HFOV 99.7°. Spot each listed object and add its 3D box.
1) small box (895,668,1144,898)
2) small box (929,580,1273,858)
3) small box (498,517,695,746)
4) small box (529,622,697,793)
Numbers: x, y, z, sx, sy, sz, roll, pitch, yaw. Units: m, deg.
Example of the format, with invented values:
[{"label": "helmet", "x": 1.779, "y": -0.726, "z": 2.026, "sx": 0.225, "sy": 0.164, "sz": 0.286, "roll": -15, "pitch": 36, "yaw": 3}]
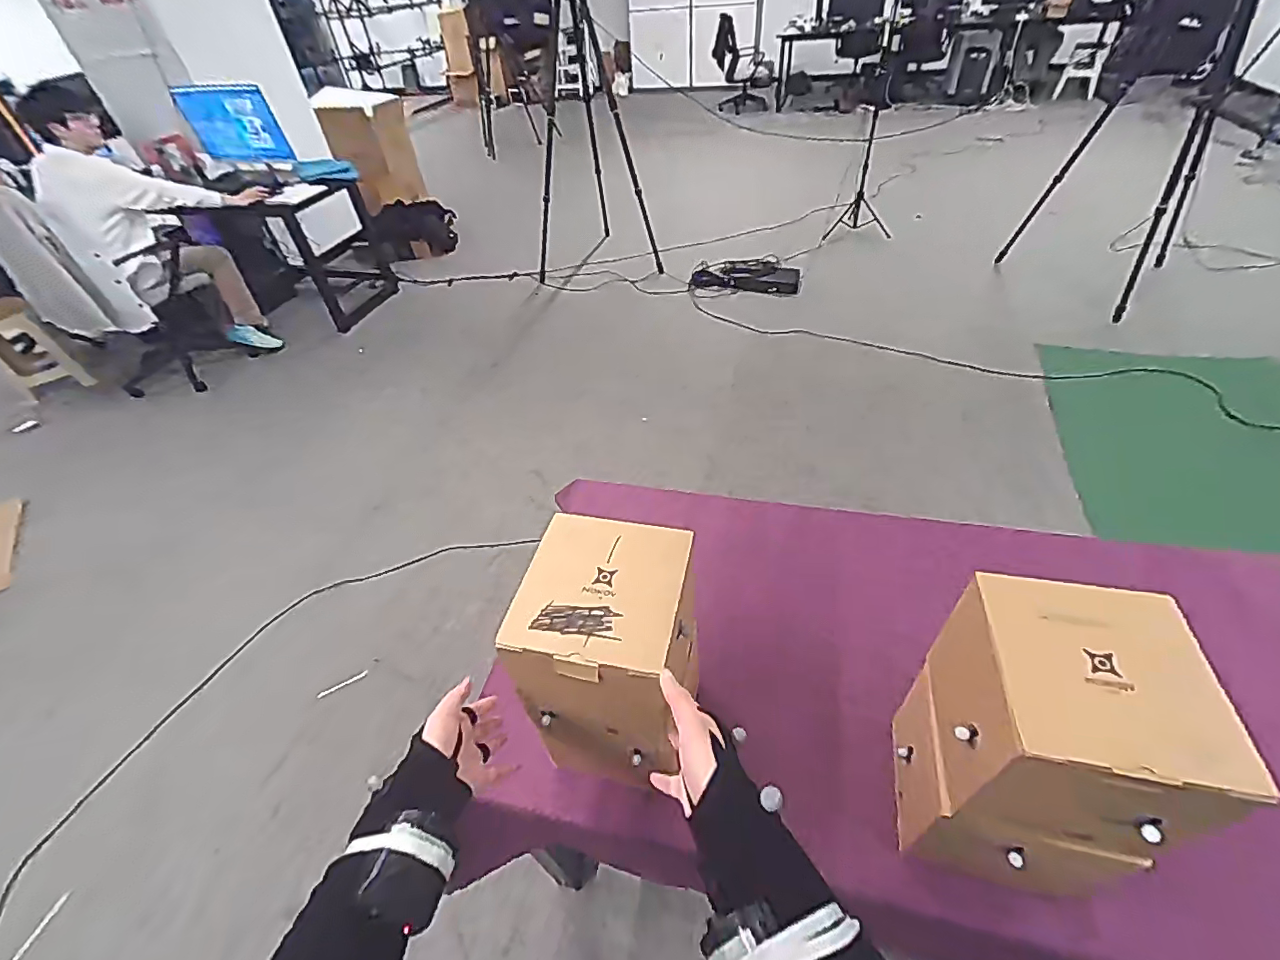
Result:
[{"label": "small box", "x": 0.401, "y": 0.345, "z": 0.617, "sx": 0.179, "sy": 0.176, "sz": 0.168, "roll": 8, "pitch": 46, "yaw": 14}, {"label": "small box", "x": 0.392, "y": 0.223, "z": 0.508, "sx": 0.168, "sy": 0.176, "sz": 0.179, "roll": 7, "pitch": 44, "yaw": 12}, {"label": "small box", "x": -0.032, "y": 0.170, "z": 0.608, "sx": 0.168, "sy": 0.176, "sz": 0.179, "roll": 7, "pitch": 44, "yaw": 12}, {"label": "small box", "x": -0.023, "y": 0.289, "z": 0.720, "sx": 0.179, "sy": 0.176, "sz": 0.168, "roll": 8, "pitch": 45, "yaw": 12}]
